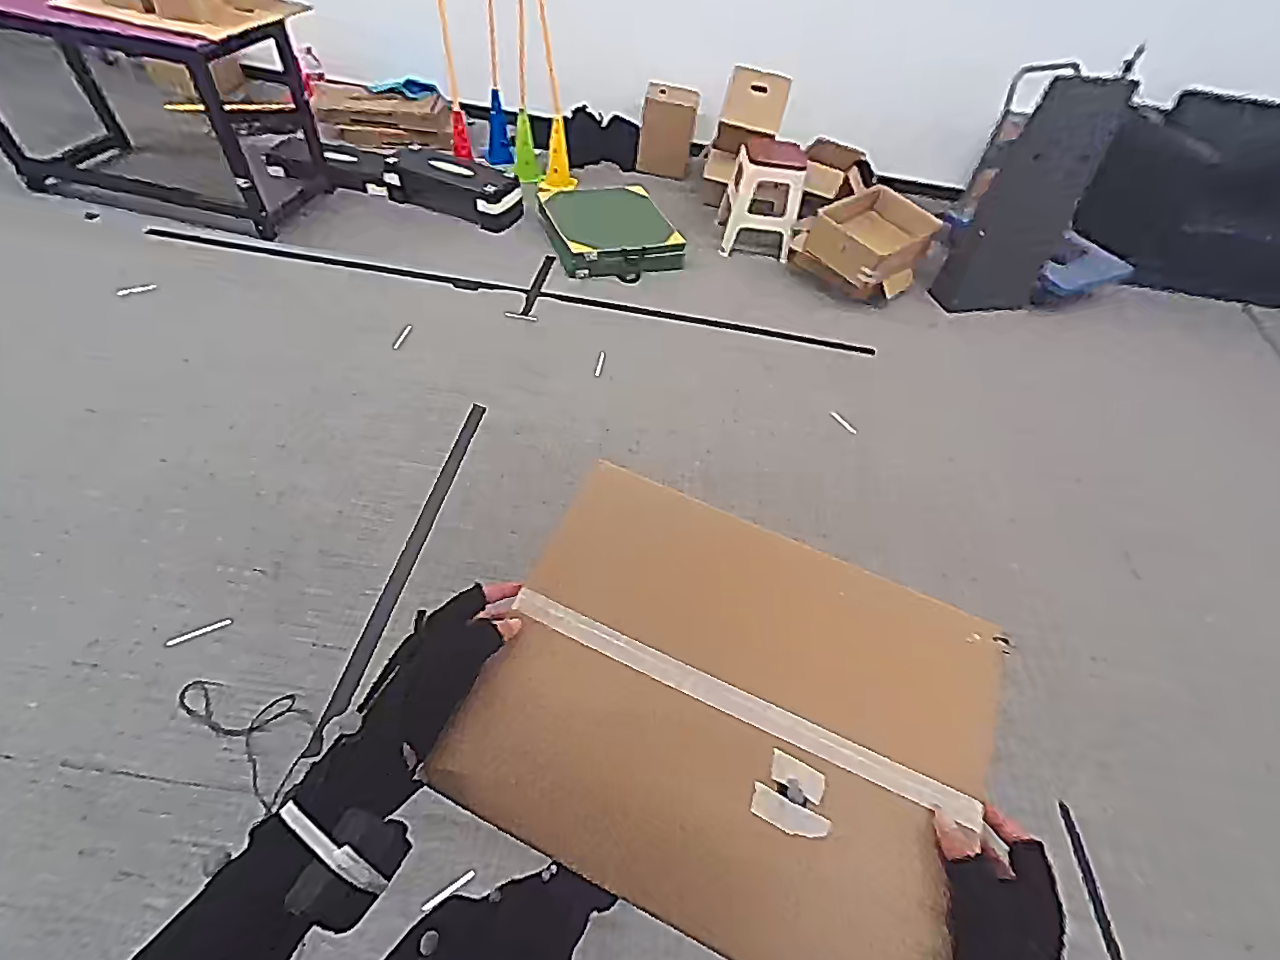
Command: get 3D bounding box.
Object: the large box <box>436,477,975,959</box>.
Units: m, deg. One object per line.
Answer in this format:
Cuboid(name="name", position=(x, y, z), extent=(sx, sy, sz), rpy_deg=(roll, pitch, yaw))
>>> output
Cuboid(name="large box", position=(0.066, 0.255, 0.603), extent=(0.408, 0.320, 0.320), rpy_deg=(23, 65, 9))
